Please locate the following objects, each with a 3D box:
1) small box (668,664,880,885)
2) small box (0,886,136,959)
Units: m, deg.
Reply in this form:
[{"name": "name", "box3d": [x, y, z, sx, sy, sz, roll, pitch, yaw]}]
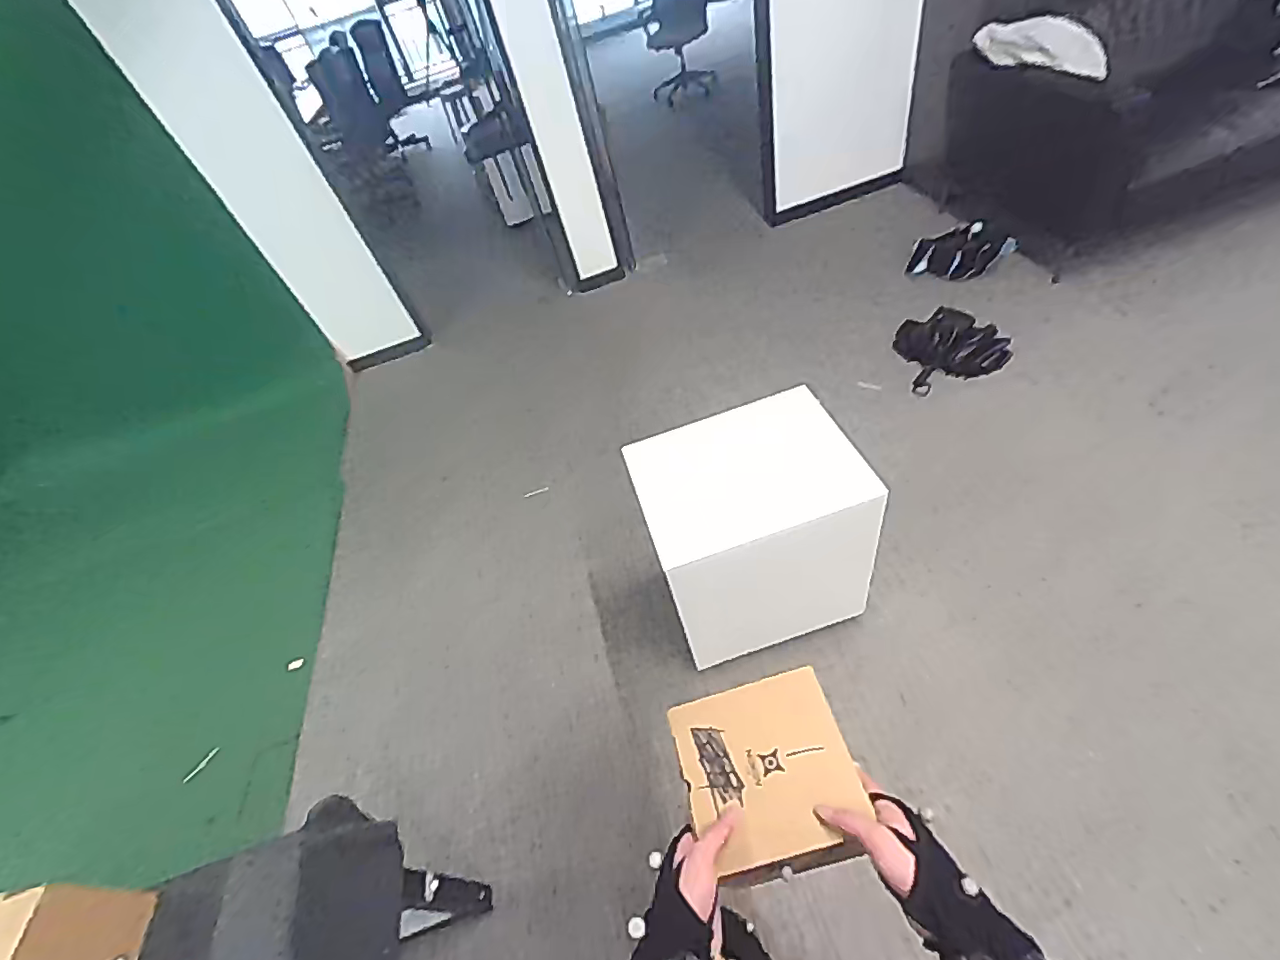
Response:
[{"name": "small box", "box3d": [0.148, 0.339, 0.615, 0.179, 0.176, 0.168, -18, 48, 3]}, {"name": "small box", "box3d": [-0.793, 0.636, 0.668, 0.168, 0.176, 0.179, -16, 48, 0]}]
